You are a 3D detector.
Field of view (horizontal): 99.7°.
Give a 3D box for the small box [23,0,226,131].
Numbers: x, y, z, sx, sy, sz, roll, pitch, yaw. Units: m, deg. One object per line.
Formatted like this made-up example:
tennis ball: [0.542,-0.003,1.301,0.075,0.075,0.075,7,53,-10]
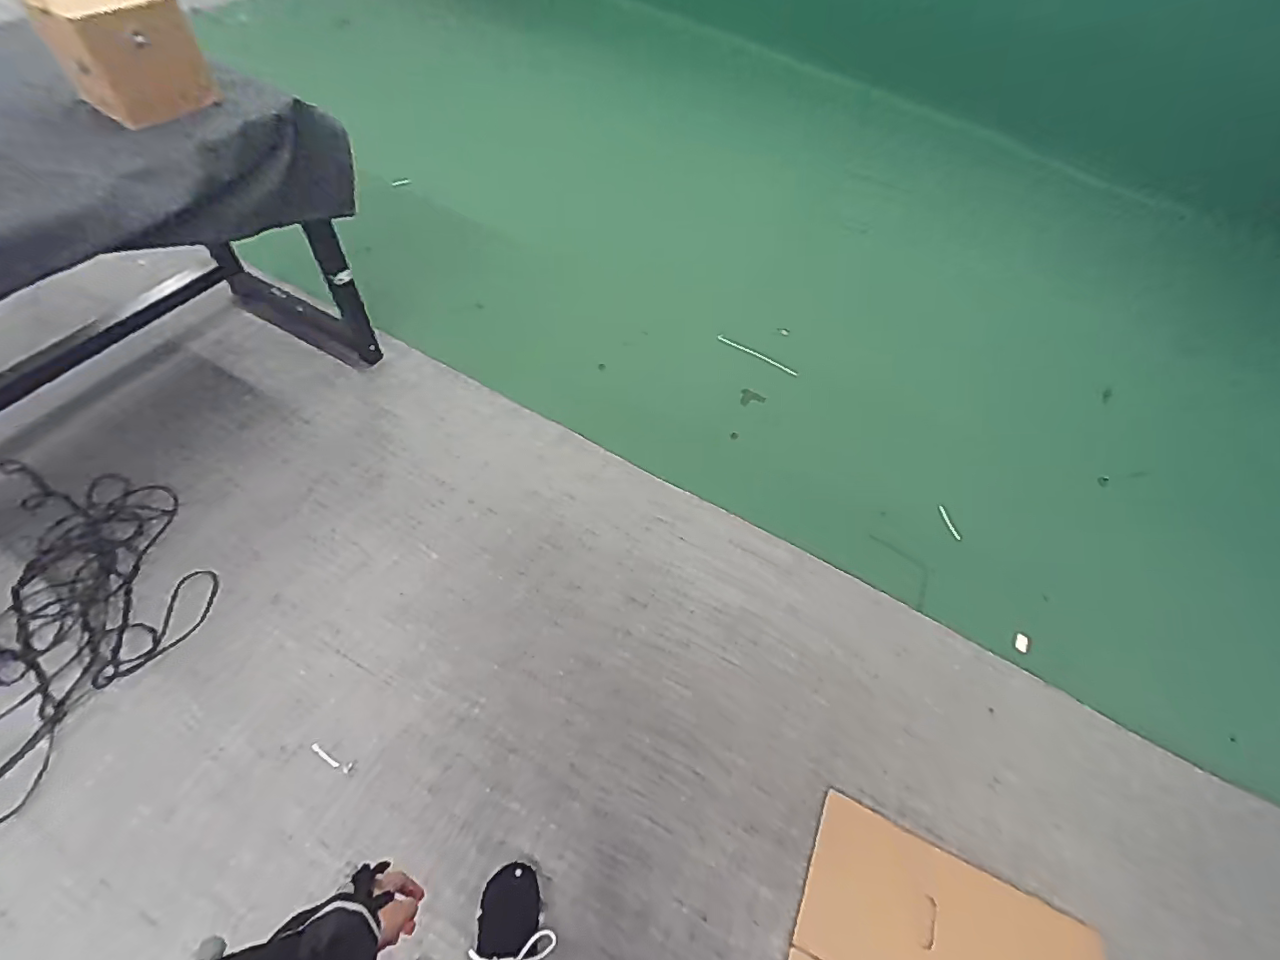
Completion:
small box: [-0.911,-0.767,0.974,0.168,0.176,0.179,33,58,11]
